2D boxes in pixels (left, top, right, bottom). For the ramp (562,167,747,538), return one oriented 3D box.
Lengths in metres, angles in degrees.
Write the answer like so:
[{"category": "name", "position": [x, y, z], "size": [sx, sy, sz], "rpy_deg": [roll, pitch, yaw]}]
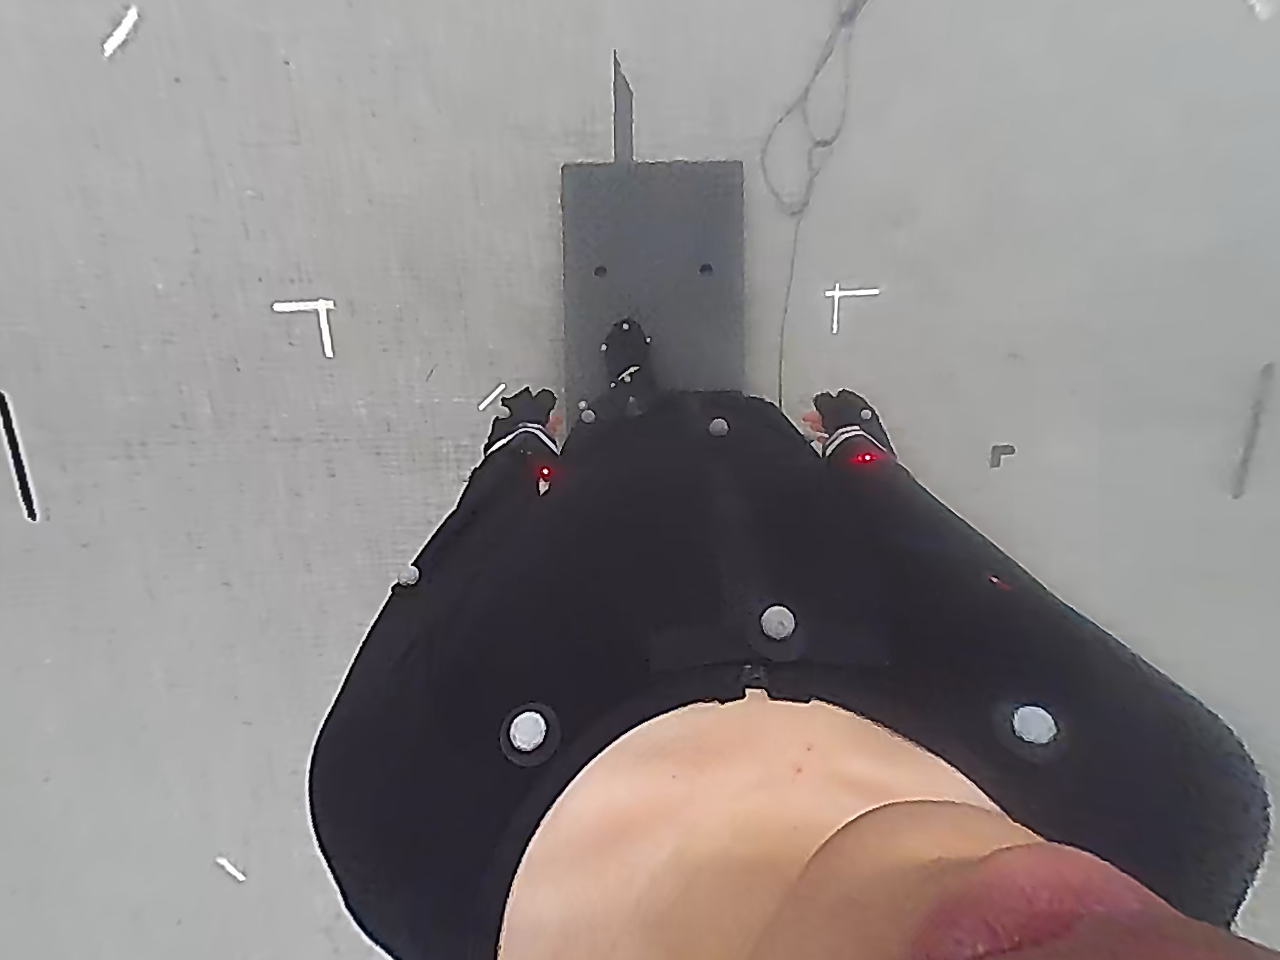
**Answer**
[{"category": "ramp", "position": [0.038, -0.342, 1.473], "size": [0.509, 0.206, 0.991], "rpy_deg": [-2, 101, 2]}]
